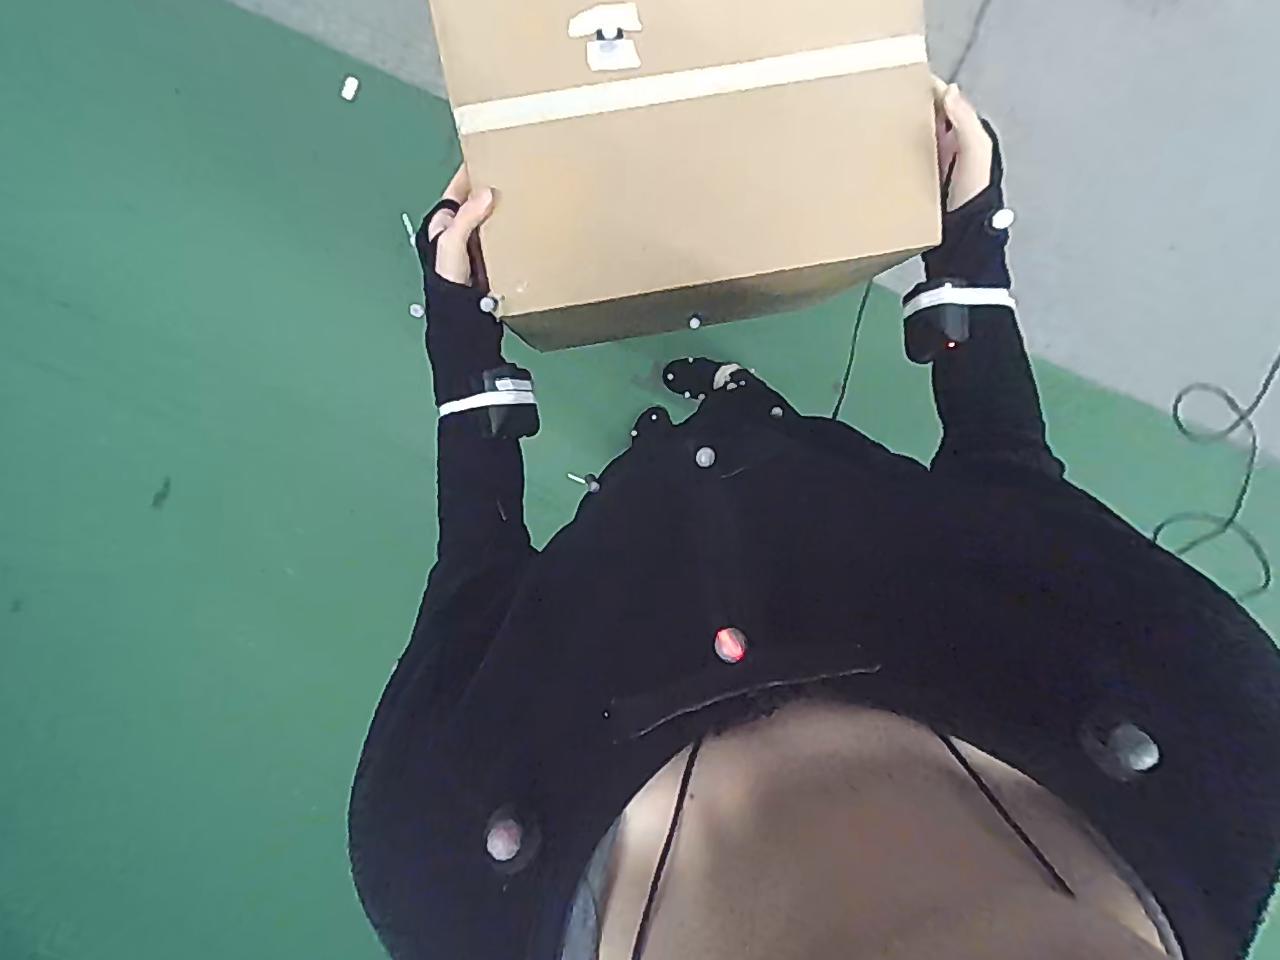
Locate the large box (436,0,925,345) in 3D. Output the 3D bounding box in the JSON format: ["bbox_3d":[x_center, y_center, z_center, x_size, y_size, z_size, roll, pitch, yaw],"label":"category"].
[{"bbox_3d":[0.037,-0.350,0.616,0.408,0.320,0.320,-10,98,-2],"label":"large box"}]
